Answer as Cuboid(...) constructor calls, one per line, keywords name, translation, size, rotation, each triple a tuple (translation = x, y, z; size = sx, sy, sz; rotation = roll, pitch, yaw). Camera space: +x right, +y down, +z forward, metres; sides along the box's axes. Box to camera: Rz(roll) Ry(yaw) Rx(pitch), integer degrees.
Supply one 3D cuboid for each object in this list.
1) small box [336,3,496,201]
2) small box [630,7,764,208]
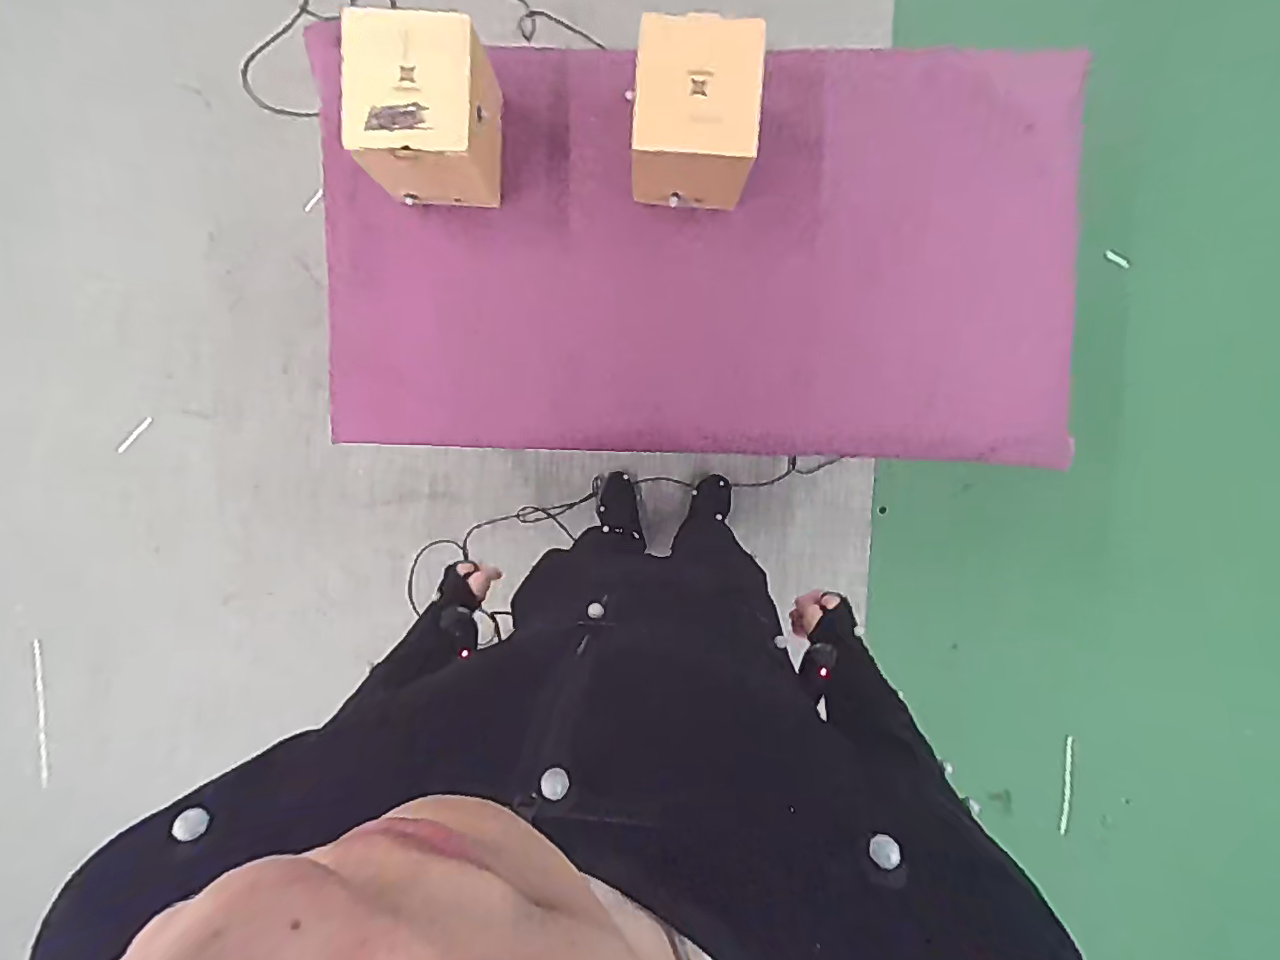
Cuboid(name="small box", translation=(-0.305, -0.520, 0.769), size=(0.168, 0.176, 0.179), rotation=(2, 96, -2))
Cuboid(name="small box", translation=(0.072, -0.523, 0.782), size=(0.168, 0.176, 0.179), rotation=(4, 96, -1))
